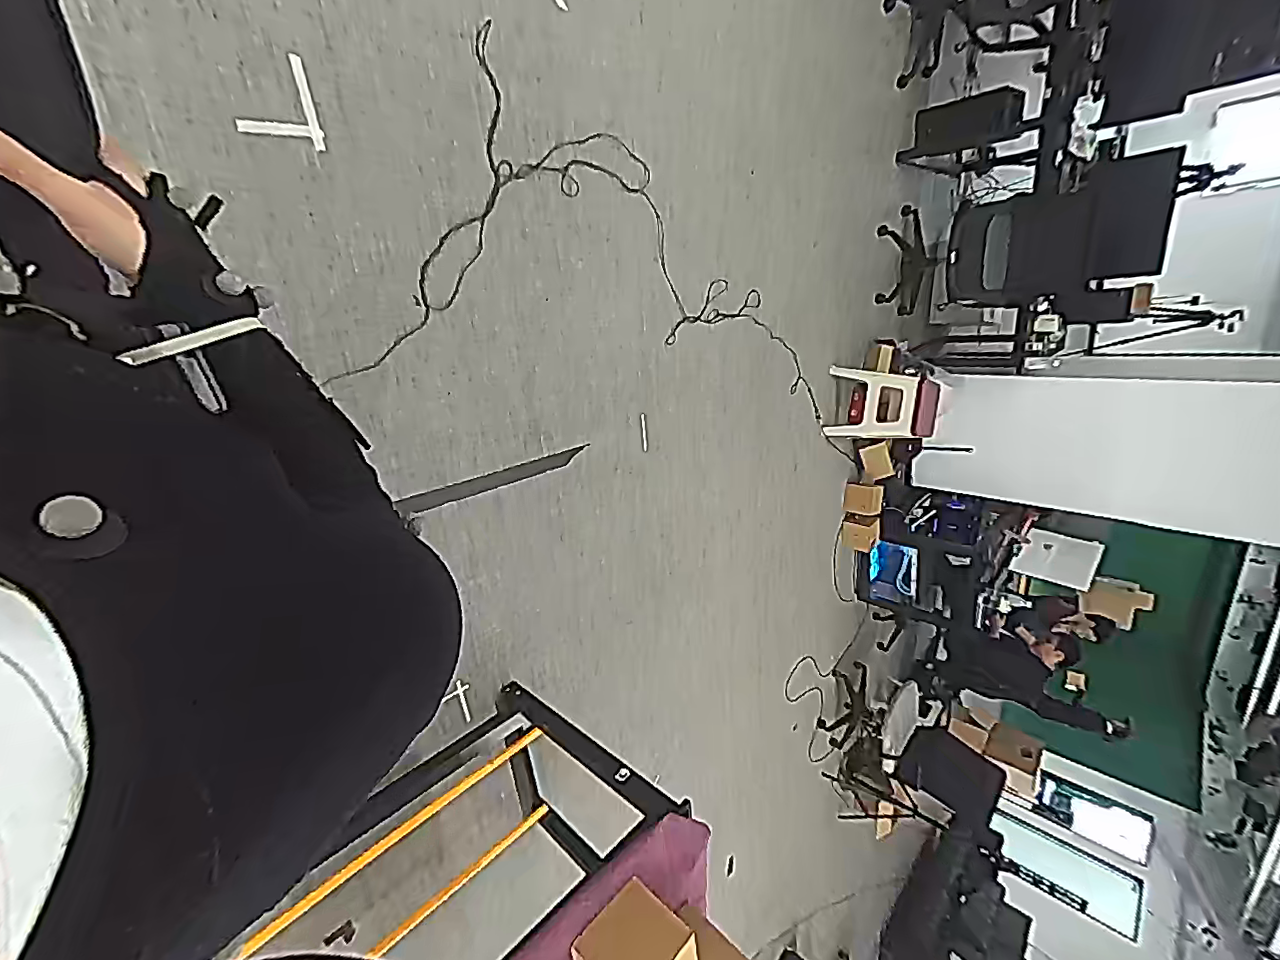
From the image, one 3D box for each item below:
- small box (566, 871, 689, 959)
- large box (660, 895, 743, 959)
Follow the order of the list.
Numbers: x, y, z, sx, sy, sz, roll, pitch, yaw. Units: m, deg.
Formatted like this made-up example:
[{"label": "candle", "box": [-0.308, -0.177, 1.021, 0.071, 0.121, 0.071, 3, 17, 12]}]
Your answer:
[{"label": "small box", "box": [-0.022, 0.943, 1.077, 0.179, 0.176, 0.168, -25, 118, -39]}, {"label": "large box", "box": [0.100, 1.254, 1.178, 0.320, 0.320, 0.408, -23, 114, -39]}]
